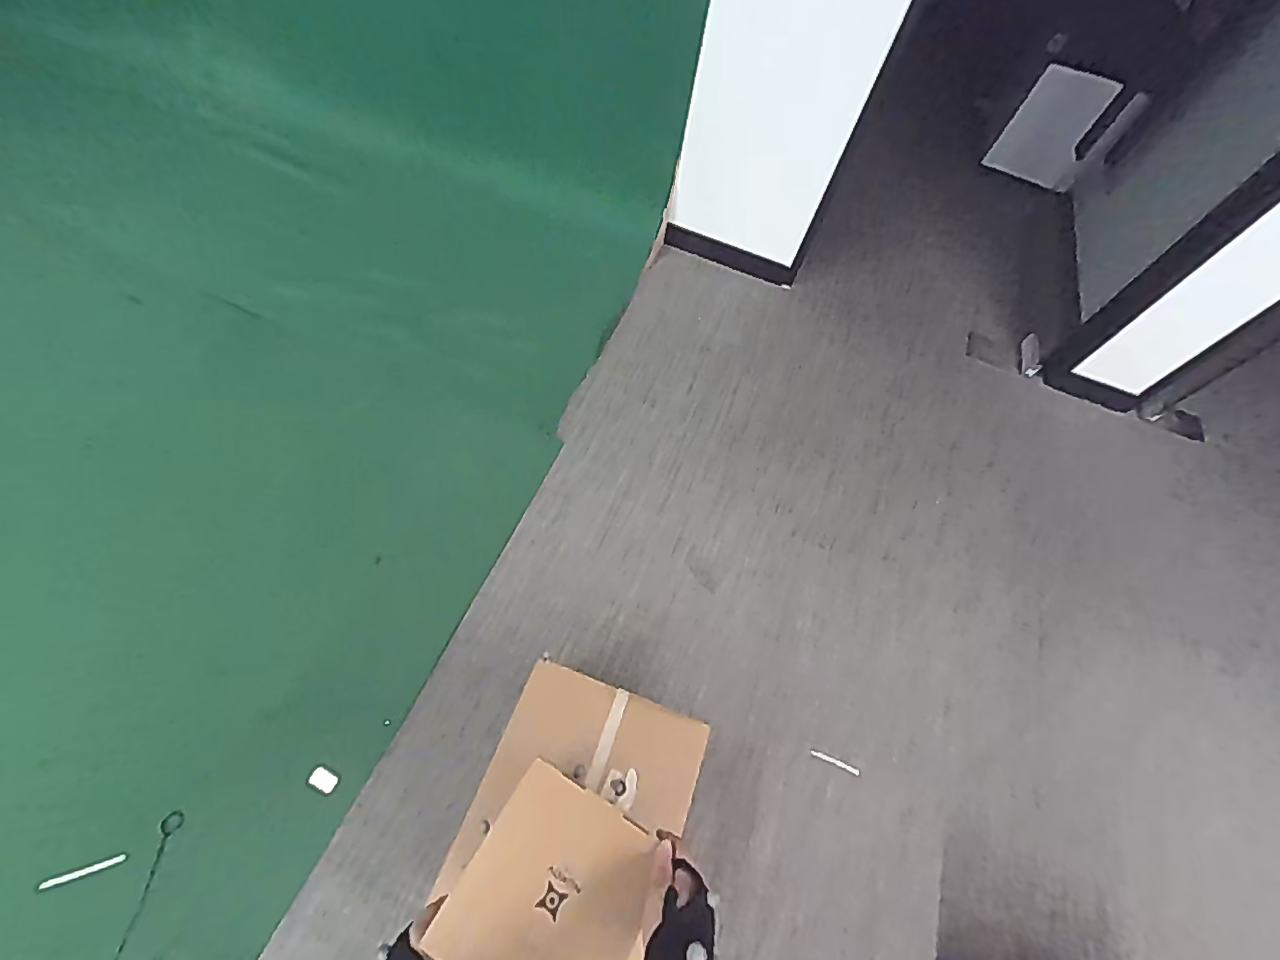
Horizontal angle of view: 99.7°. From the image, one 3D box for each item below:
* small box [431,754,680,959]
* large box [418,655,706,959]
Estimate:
[{"bbox_3d":[-0.082,0.417,0.564,0.168,0.176,0.179,30,62,10],"label":"small box"},{"bbox_3d":[-0.112,0.582,0.937,0.320,0.320,0.408,21,59,3],"label":"large box"}]
